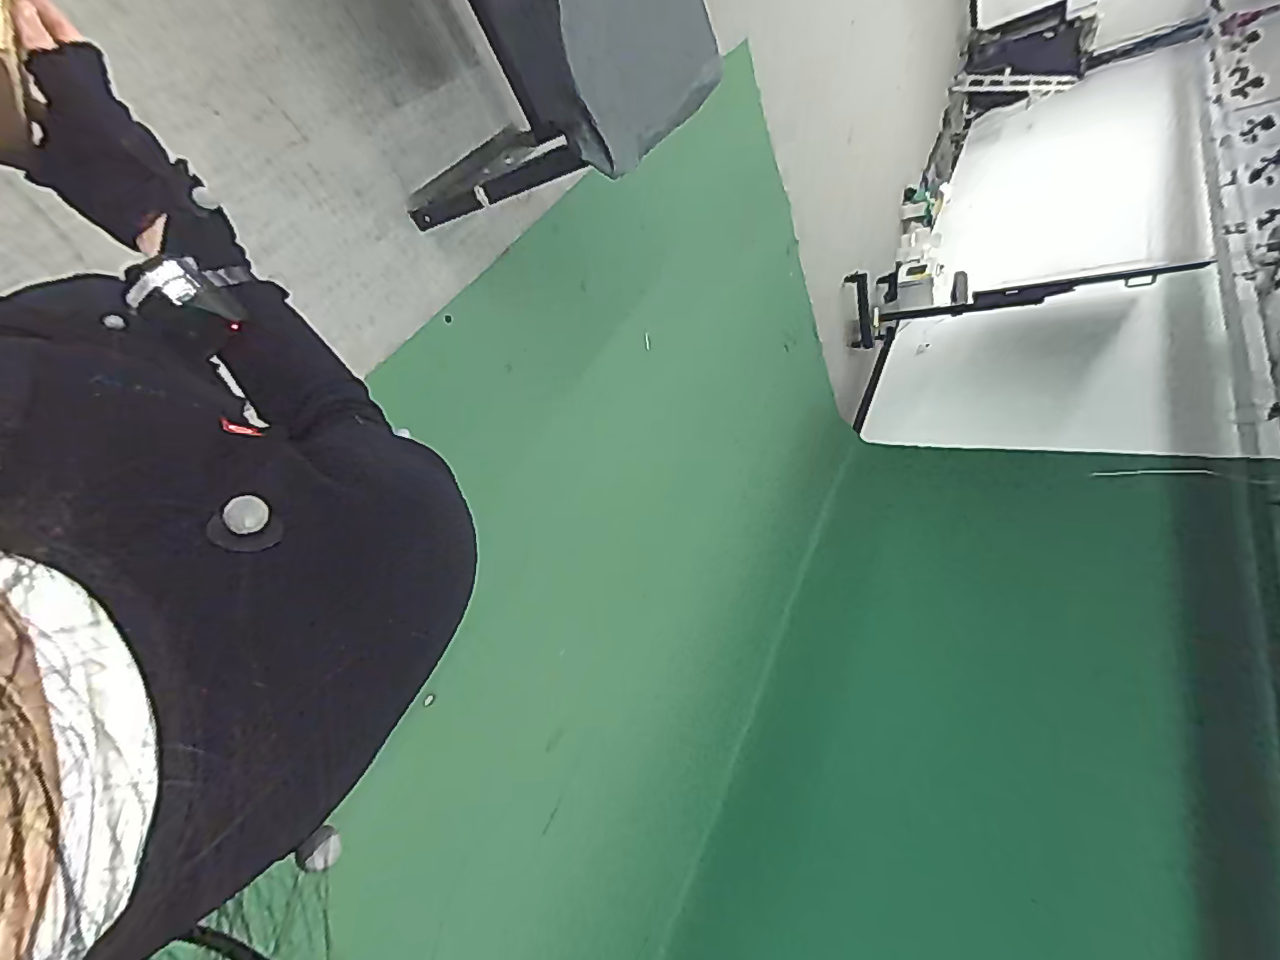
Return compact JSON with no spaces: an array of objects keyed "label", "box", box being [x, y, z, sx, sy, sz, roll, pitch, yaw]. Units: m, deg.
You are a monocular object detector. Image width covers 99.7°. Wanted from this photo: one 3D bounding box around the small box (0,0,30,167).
[{"label":"small box","box":[-0.468,-0.315,0.297,0.168,0.176,0.179,-4,96,-45]}]
